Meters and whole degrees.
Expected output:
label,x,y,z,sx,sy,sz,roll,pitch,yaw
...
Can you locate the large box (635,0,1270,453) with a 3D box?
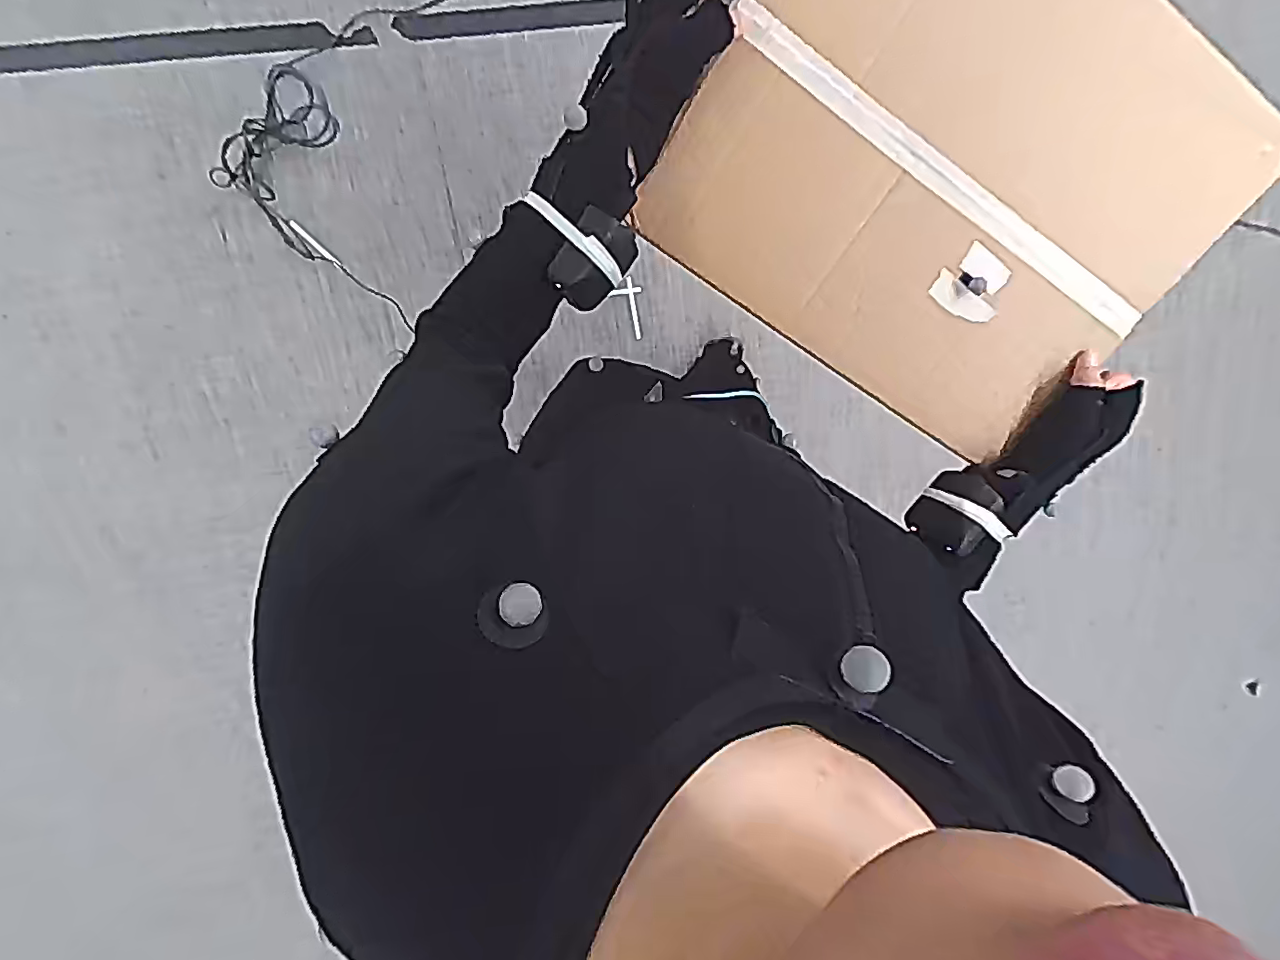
label,x,y,z,sx,sy,sz,roll,pitch,yaw
large box,0.241,-0.296,0.566,0.408,0.320,0.320,31,112,-12
